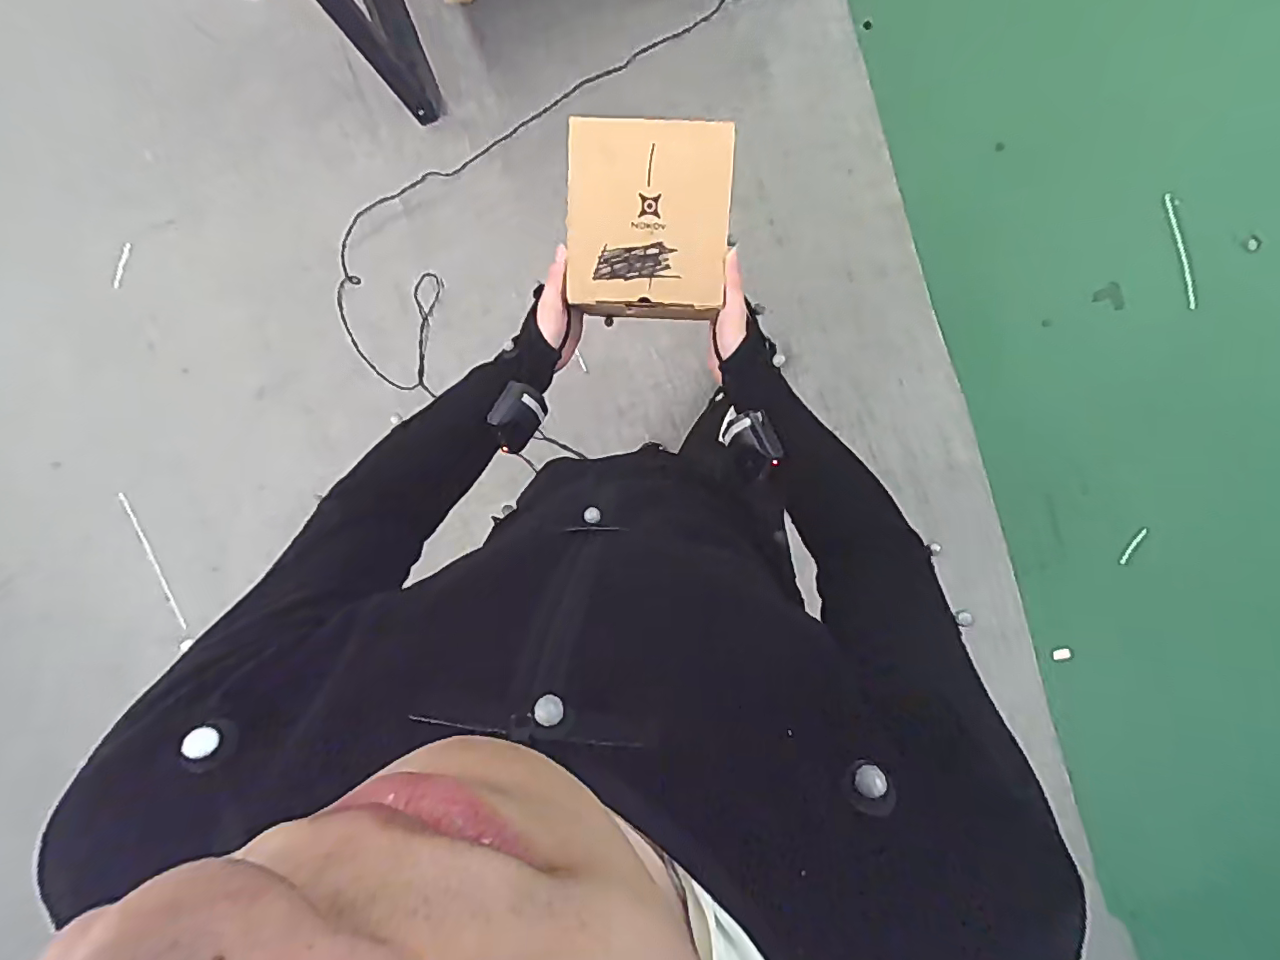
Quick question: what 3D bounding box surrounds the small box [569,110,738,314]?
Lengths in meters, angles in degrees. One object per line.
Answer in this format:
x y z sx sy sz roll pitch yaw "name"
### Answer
0.013 -0.287 0.617 0.168 0.176 0.179 2 101 1 "small box"
